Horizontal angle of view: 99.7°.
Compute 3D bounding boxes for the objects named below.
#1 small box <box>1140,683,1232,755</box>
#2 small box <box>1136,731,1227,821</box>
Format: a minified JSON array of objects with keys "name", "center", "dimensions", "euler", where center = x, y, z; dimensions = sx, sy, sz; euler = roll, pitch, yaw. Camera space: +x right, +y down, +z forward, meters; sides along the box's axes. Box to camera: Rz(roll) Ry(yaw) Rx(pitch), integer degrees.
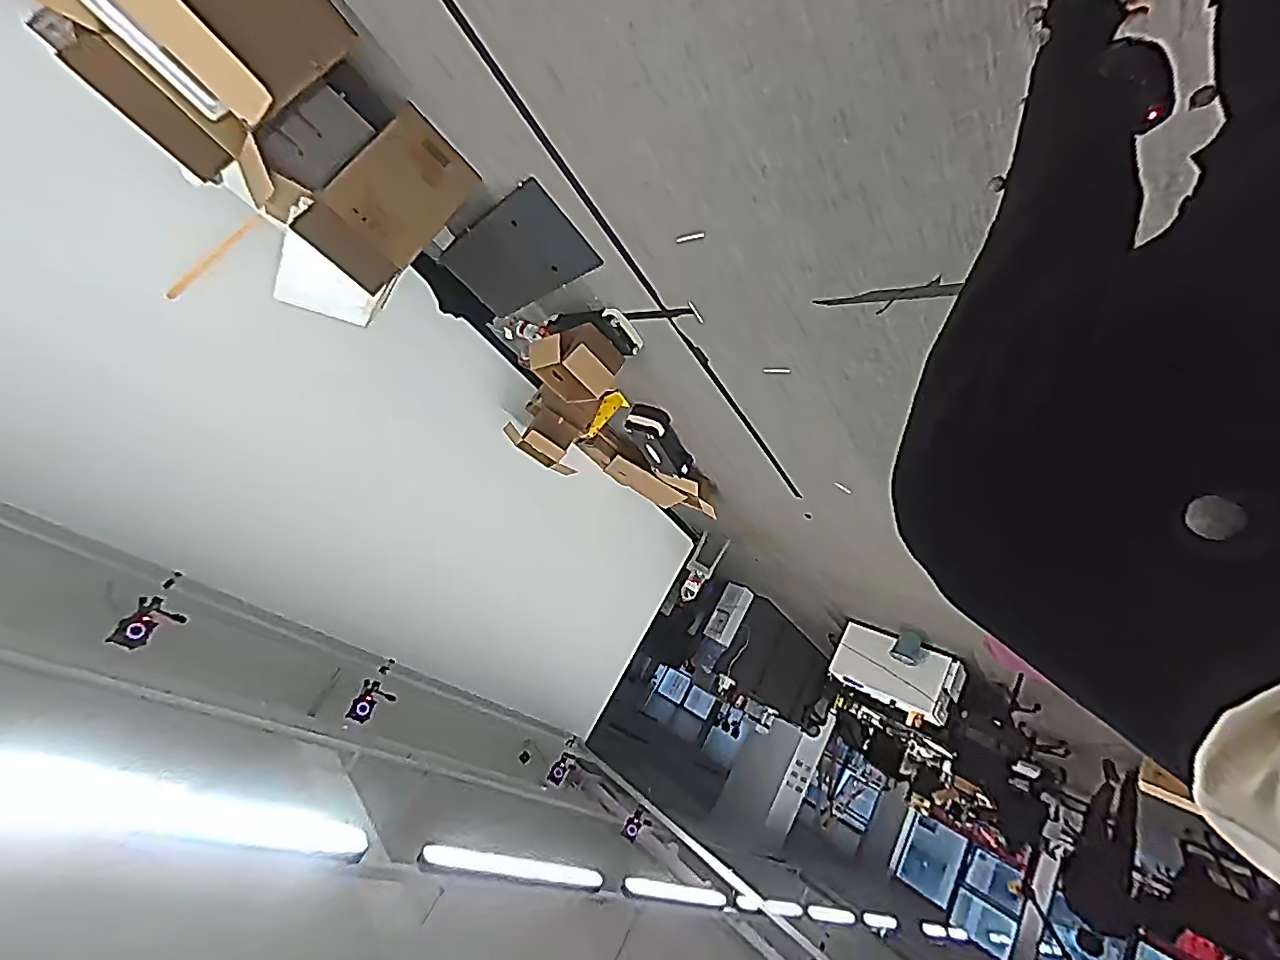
[{"name":"small box","center":[1.737,0.772,1.723],"dimensions":[0.179,0.176,0.168],"euler":[13,158,50]},{"name":"small box","center":[1.662,0.904,1.659],"dimensions":[0.179,0.176,0.168],"euler":[13,157,49]}]
